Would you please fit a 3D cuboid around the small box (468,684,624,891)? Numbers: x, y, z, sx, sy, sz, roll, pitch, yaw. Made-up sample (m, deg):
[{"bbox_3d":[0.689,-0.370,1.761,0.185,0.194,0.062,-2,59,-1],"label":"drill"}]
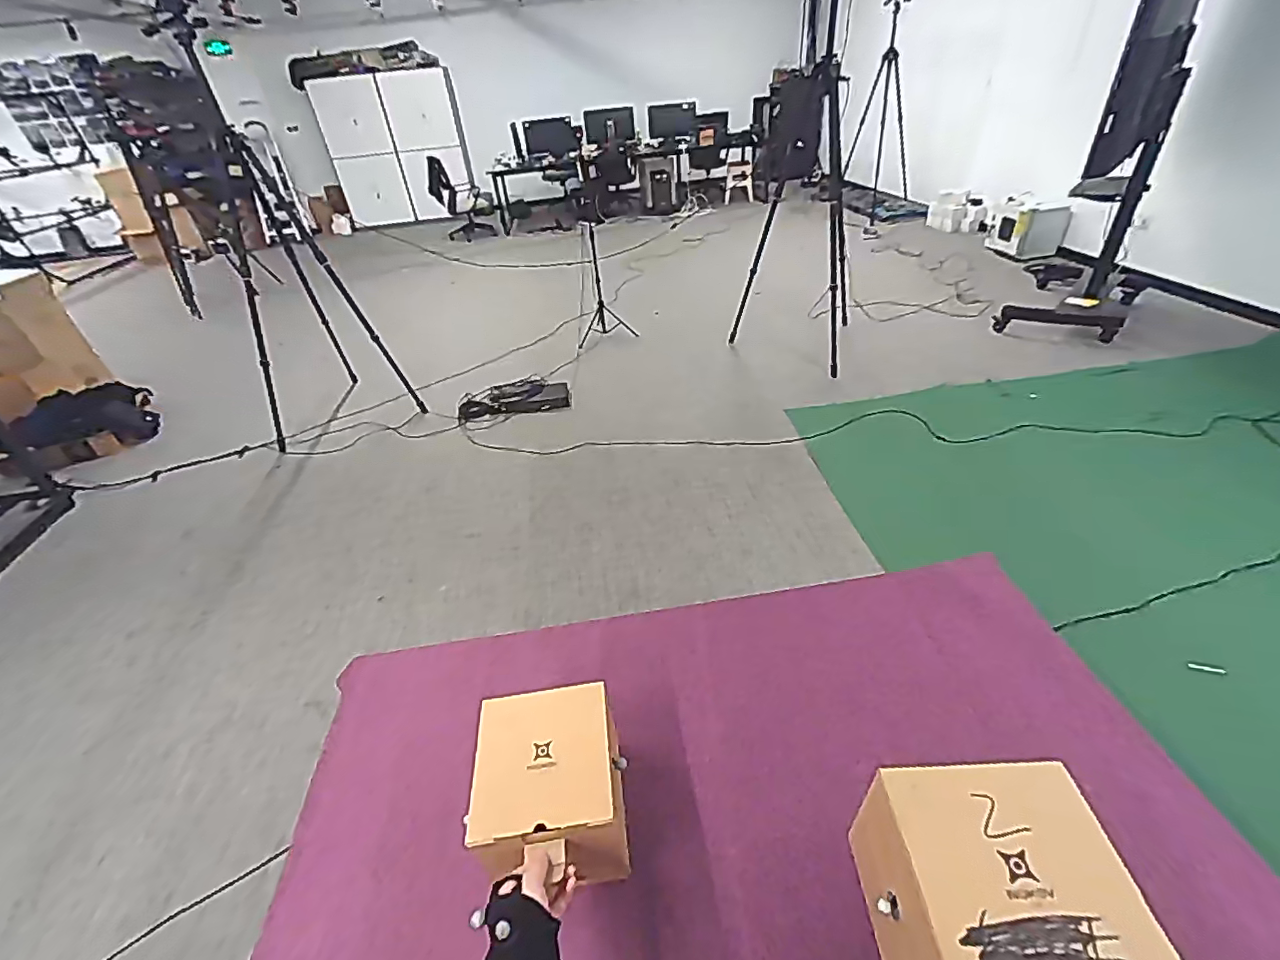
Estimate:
[{"bbox_3d":[-0.115,0.405,0.719,0.168,0.176,0.179,-8,37,-3],"label":"small box"}]
